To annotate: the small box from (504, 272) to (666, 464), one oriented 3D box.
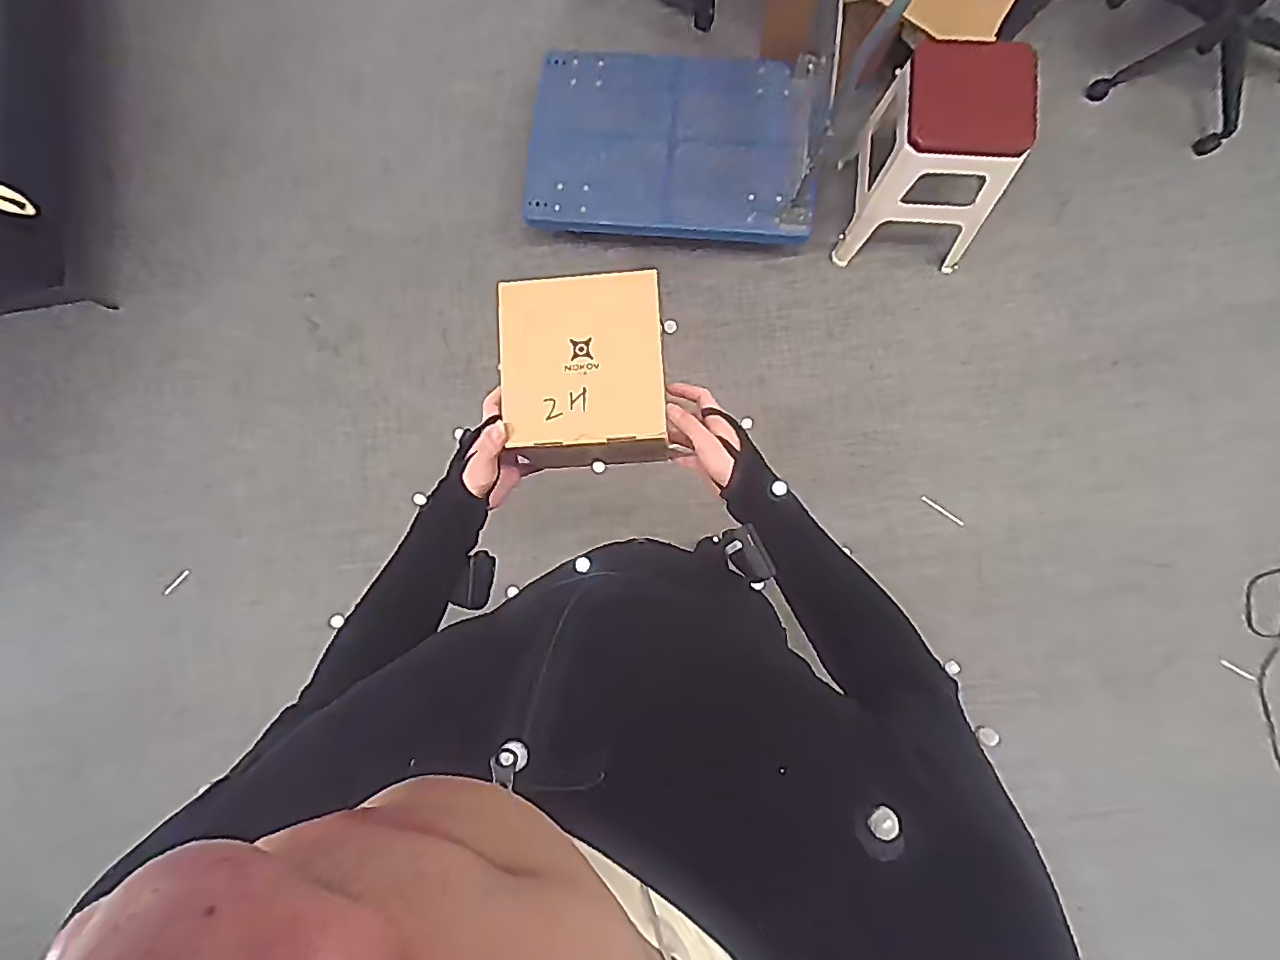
[{"bbox_3d":[-0.055,-0.118,0.633,0.168,0.176,0.179,-3,84,3],"label":"small box"}]
